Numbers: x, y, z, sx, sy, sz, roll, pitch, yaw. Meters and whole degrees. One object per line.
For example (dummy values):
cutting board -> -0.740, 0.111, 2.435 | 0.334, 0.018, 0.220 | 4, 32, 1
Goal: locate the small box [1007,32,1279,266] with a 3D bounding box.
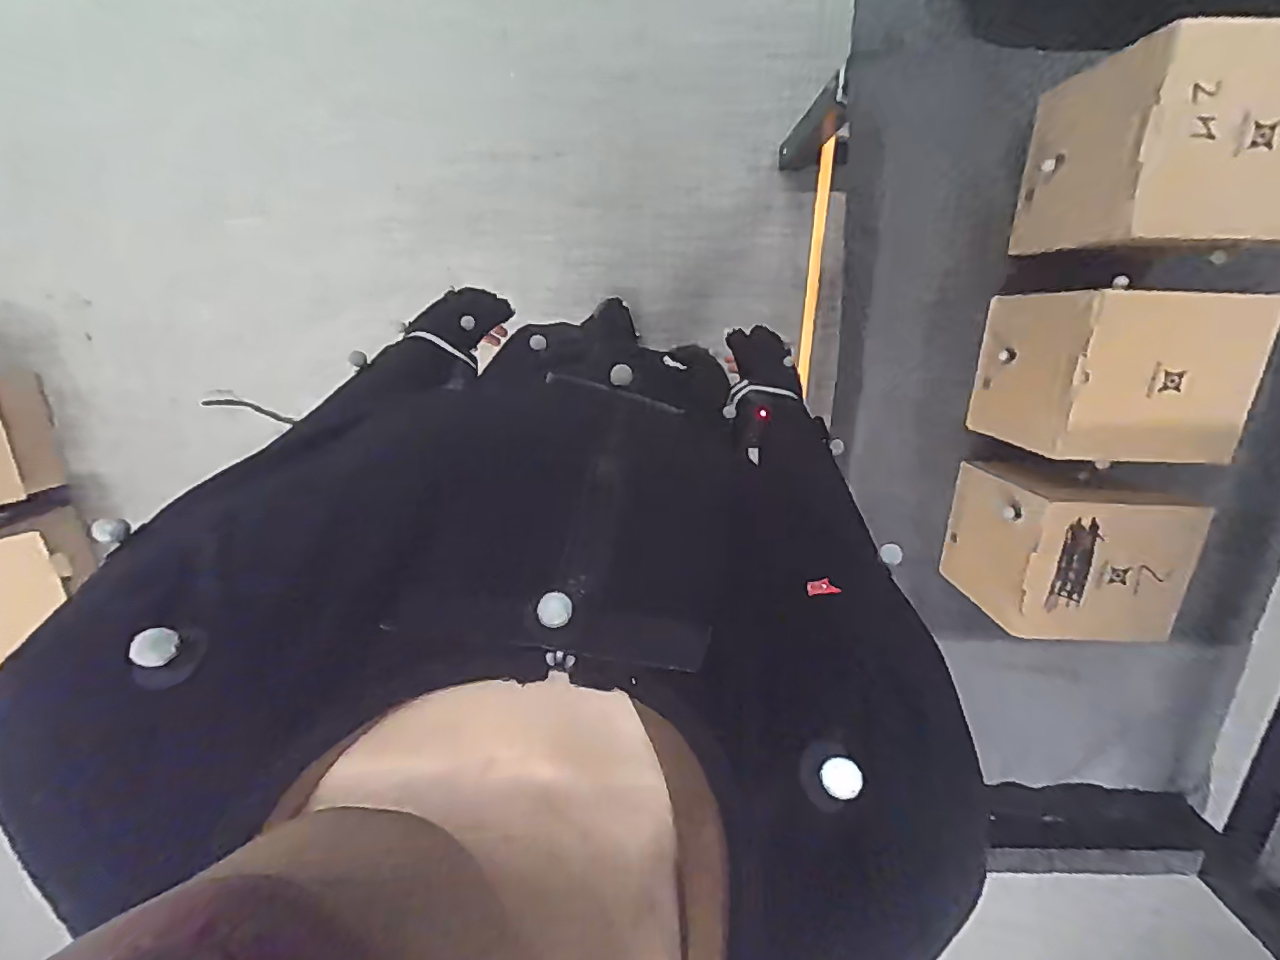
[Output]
small box -> 0.524, -0.313, 0.545 | 0.179, 0.176, 0.168 | 1, 107, 0

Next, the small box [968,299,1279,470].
small box -> 0.515, -0.115, 0.608 | 0.179, 0.176, 0.168 | 1, 107, 1
